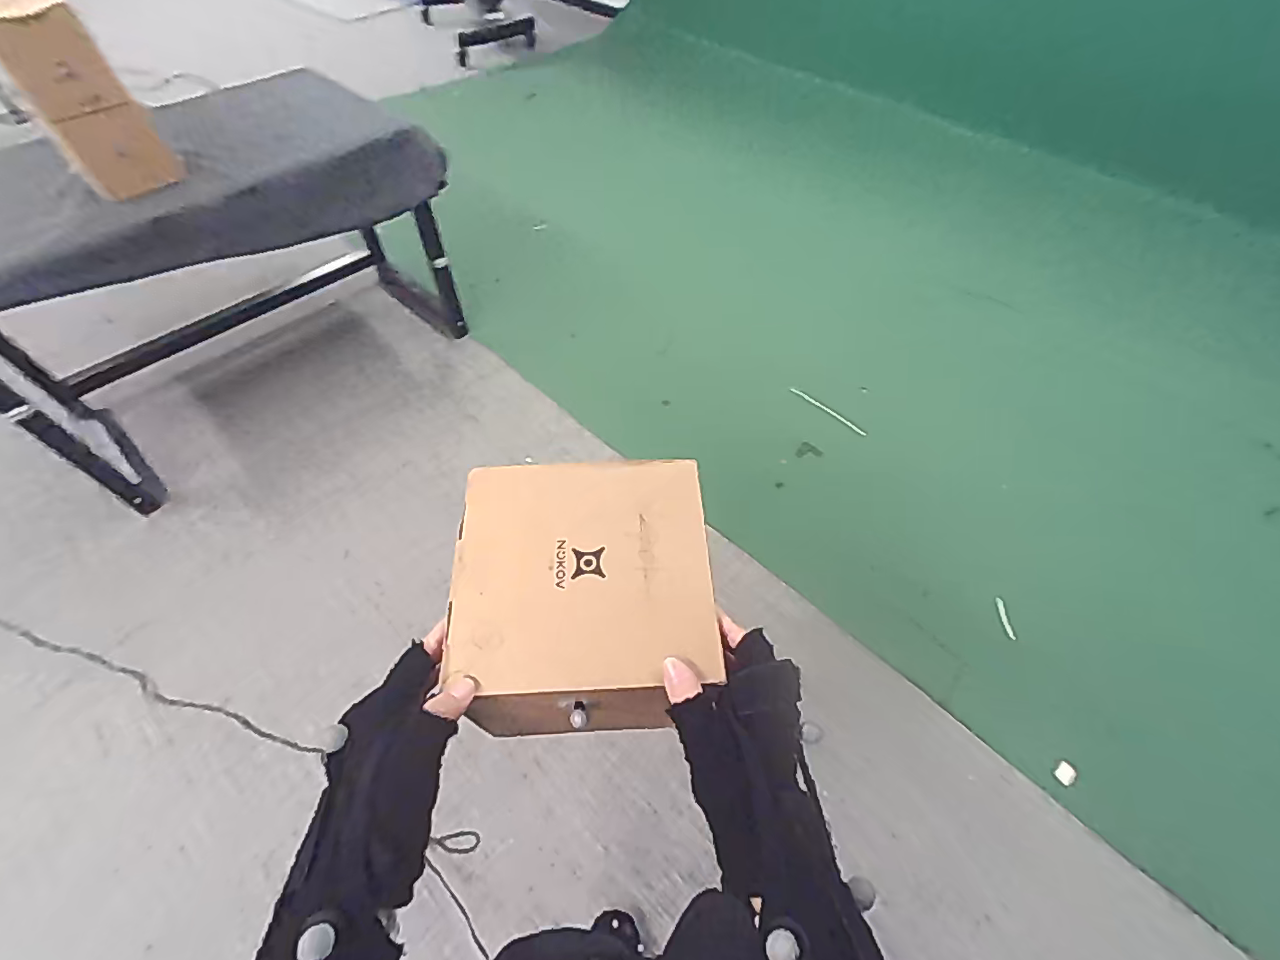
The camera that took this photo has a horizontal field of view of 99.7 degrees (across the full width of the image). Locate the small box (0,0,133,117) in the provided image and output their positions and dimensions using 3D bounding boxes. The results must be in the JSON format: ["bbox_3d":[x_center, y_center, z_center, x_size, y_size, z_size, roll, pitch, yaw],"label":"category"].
[{"bbox_3d":[-1.210,-0.877,1.110,0.179,0.176,0.168,37,62,22],"label":"small box"}]

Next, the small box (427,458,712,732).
[{"bbox_3d":[-0.048,0.099,0.434,0.179,0.176,0.168,-3,58,-4],"label":"small box"}]

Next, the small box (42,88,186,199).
[{"bbox_3d":[-1.203,-0.783,1.244,0.168,0.176,0.179,34,59,21],"label":"small box"}]
